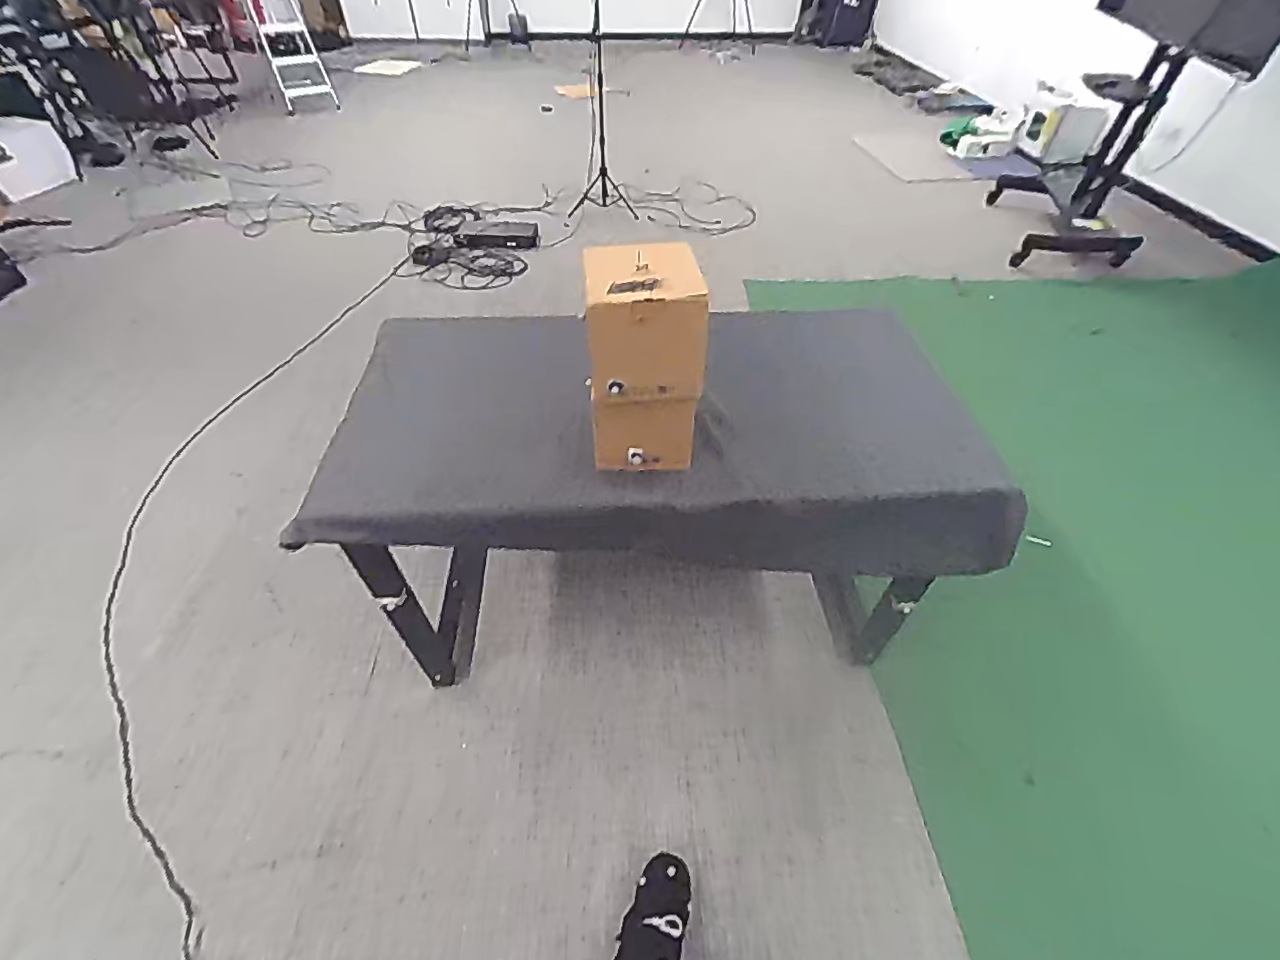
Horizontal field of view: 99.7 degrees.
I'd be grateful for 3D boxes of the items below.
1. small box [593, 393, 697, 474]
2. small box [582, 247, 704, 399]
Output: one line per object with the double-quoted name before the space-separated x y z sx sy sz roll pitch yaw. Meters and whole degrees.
"small box" 0.006 -0.130 0.959 0.168 0.176 0.179 -3 47 -1
"small box" 0.001 -0.236 0.833 0.168 0.176 0.179 -5 45 -3
